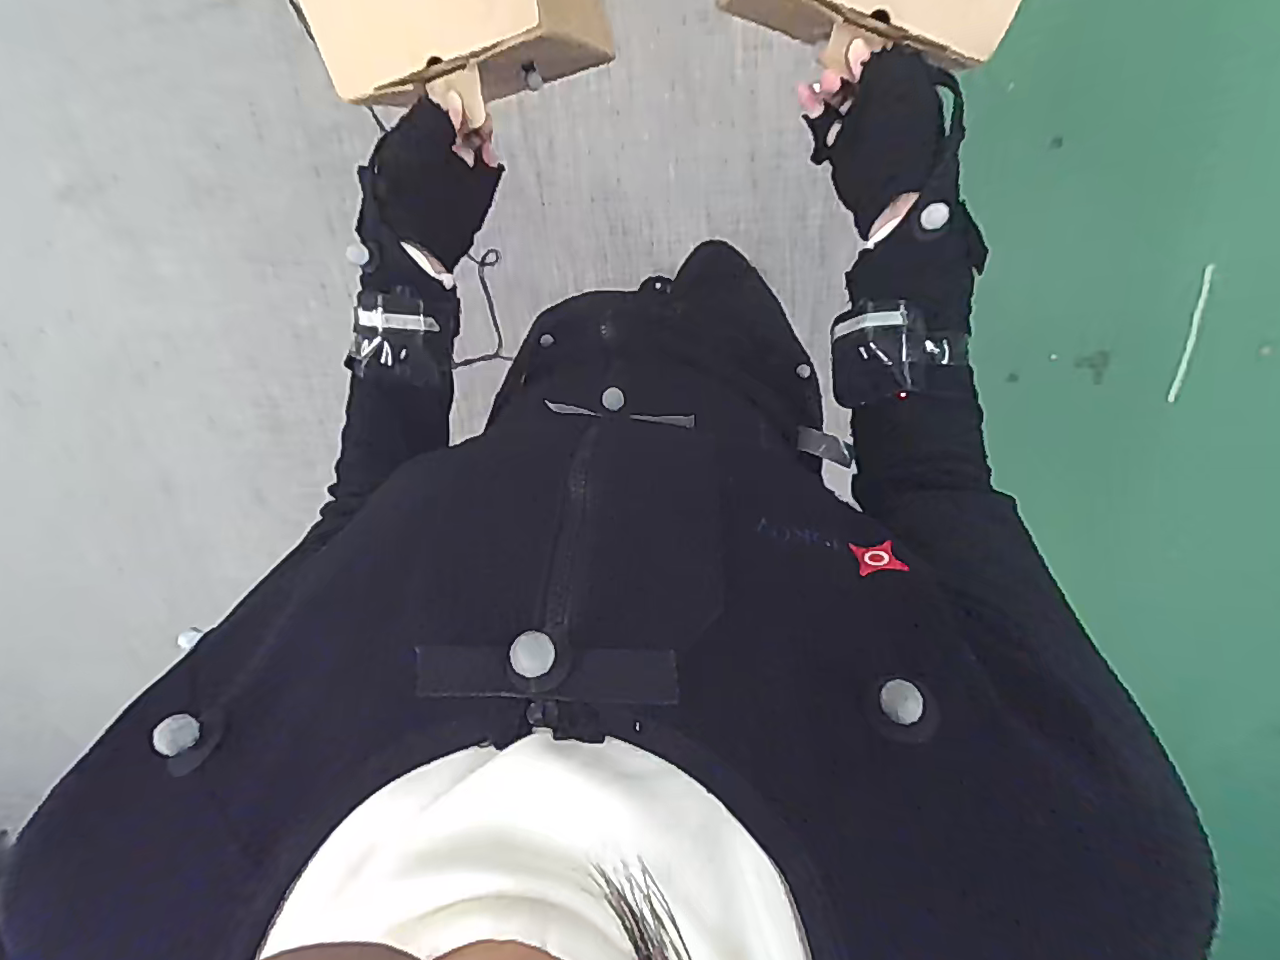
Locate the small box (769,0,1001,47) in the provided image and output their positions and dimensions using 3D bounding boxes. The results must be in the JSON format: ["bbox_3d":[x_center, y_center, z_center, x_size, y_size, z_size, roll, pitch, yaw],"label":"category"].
[{"bbox_3d":[0.168,-0.420,0.360,0.168,0.176,0.179,10,127,-11],"label":"small box"}]

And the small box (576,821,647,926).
[{"bbox_3d":[-0.076,1.075,1.486,0.179,0.176,0.168,2,108,2],"label":"small box"}]

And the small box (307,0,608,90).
[{"bbox_3d":[-0.135,-0.402,0.385,0.168,0.176,0.179,-5,119,18],"label":"small box"}]
